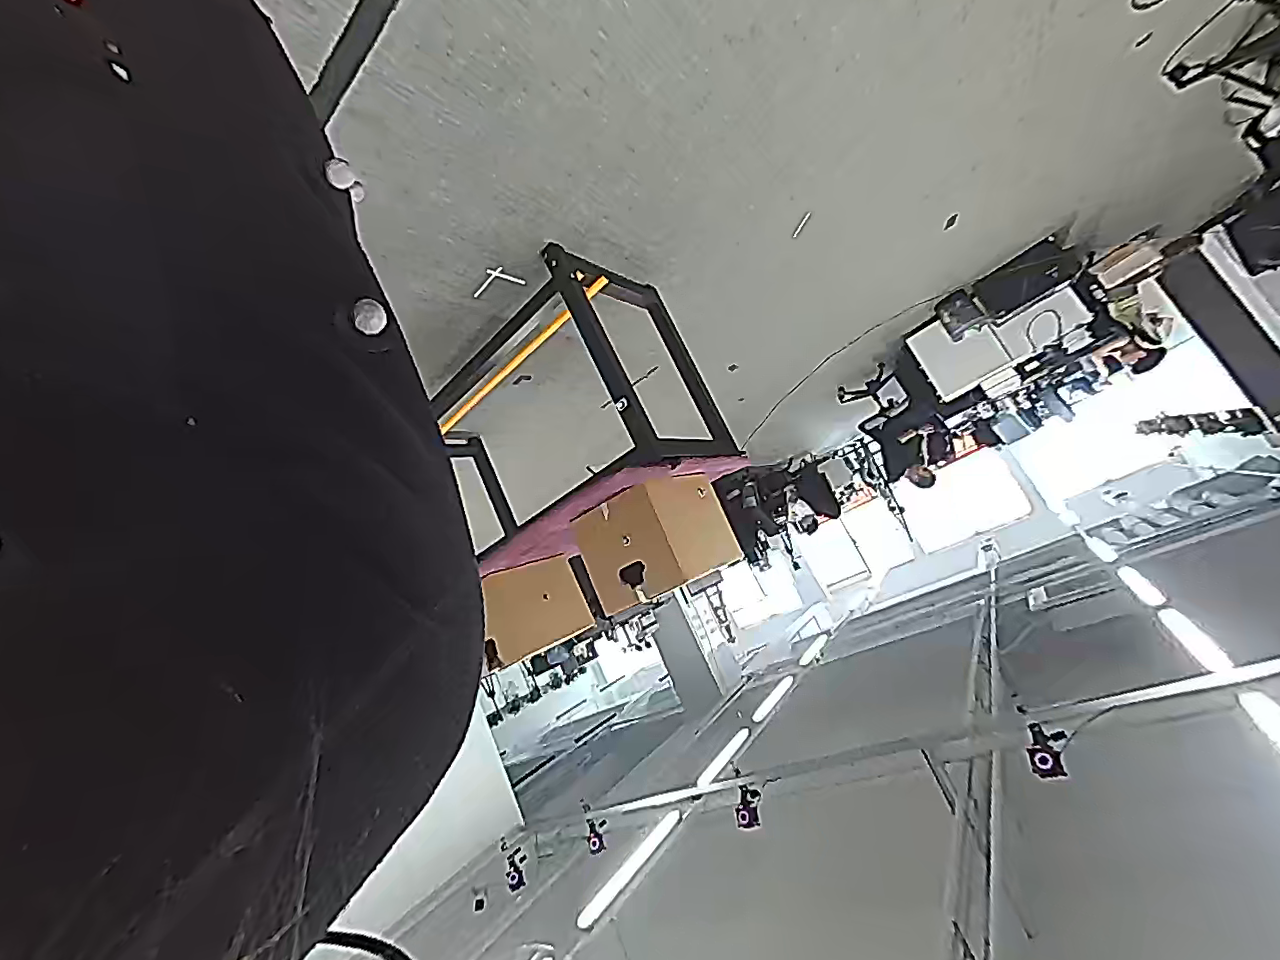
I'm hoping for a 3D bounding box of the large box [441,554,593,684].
[{"bbox_3d":[-0.464,0.513,2.052,0.320,0.320,0.408,-32,168,30],"label":"large box"}]
